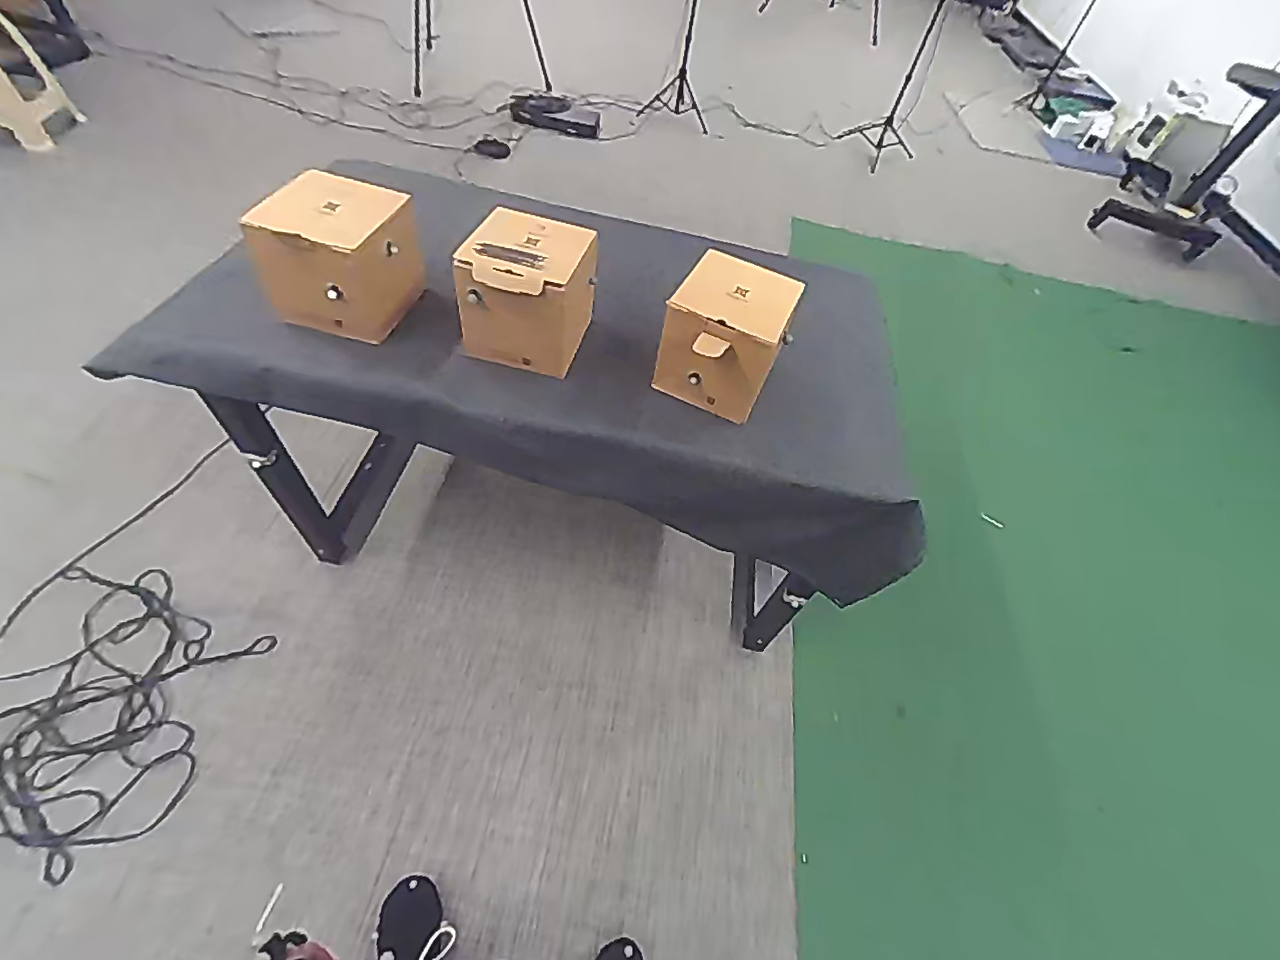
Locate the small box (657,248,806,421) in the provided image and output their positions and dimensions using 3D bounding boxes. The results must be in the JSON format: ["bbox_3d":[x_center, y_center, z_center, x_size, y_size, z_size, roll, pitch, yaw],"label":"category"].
[{"bbox_3d":[0.138,-0.228,0.861,0.168,0.176,0.179,25,54,9],"label":"small box"}]

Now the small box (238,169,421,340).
[{"bbox_3d":[-0.462,-0.346,0.844,0.168,0.176,0.179,15,51,0],"label":"small box"}]
